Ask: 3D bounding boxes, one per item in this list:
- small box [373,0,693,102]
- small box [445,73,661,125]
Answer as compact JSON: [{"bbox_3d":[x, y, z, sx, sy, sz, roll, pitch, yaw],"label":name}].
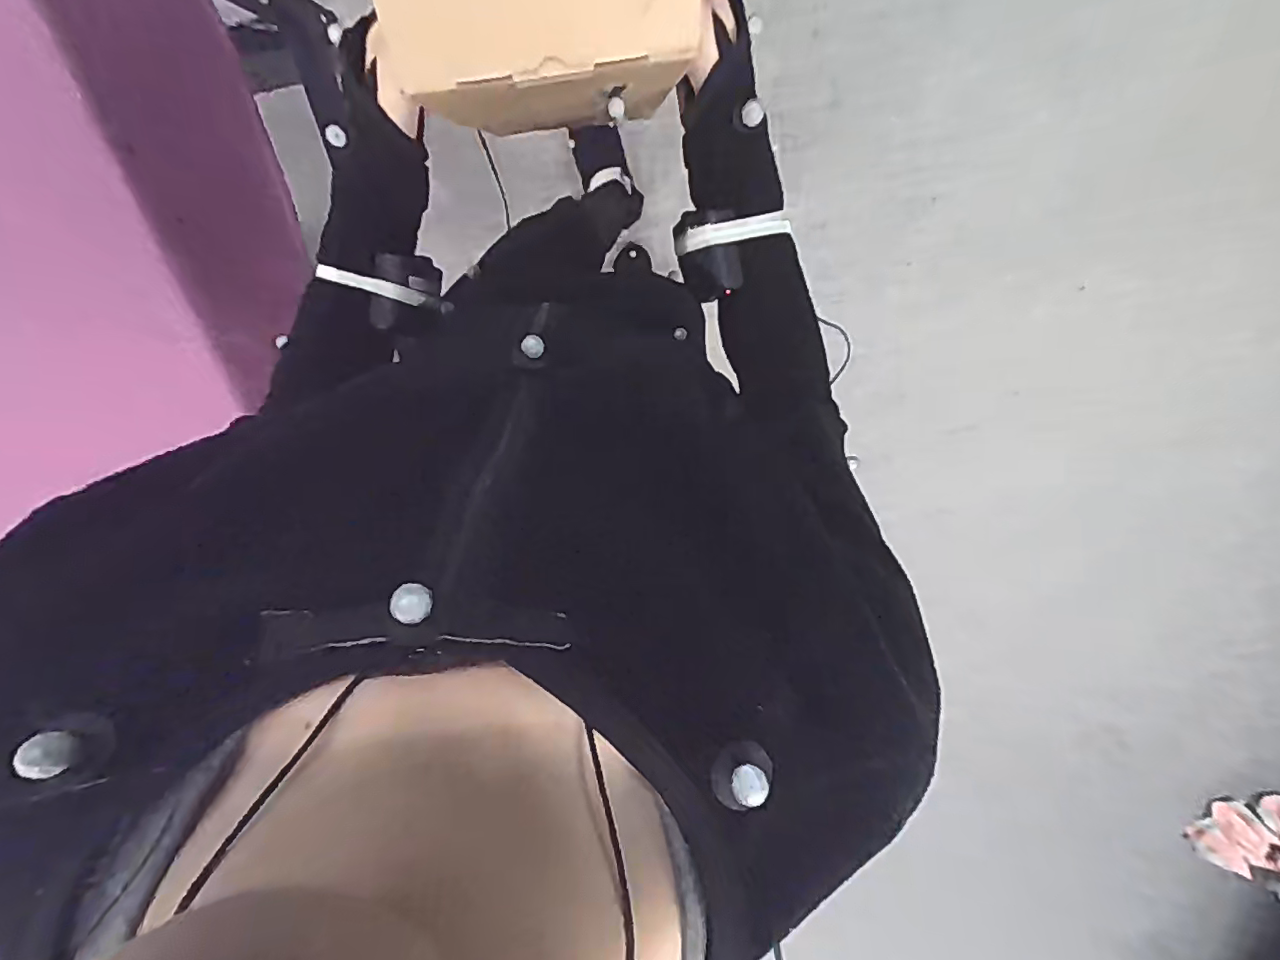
[{"bbox_3d":[-0.065,-0.339,0.317,0.168,0.176,0.179,-8,118,-1],"label":"small box"},{"bbox_3d":[-0.079,-0.415,0.460,0.179,0.176,0.168,-7,118,-1],"label":"small box"}]
